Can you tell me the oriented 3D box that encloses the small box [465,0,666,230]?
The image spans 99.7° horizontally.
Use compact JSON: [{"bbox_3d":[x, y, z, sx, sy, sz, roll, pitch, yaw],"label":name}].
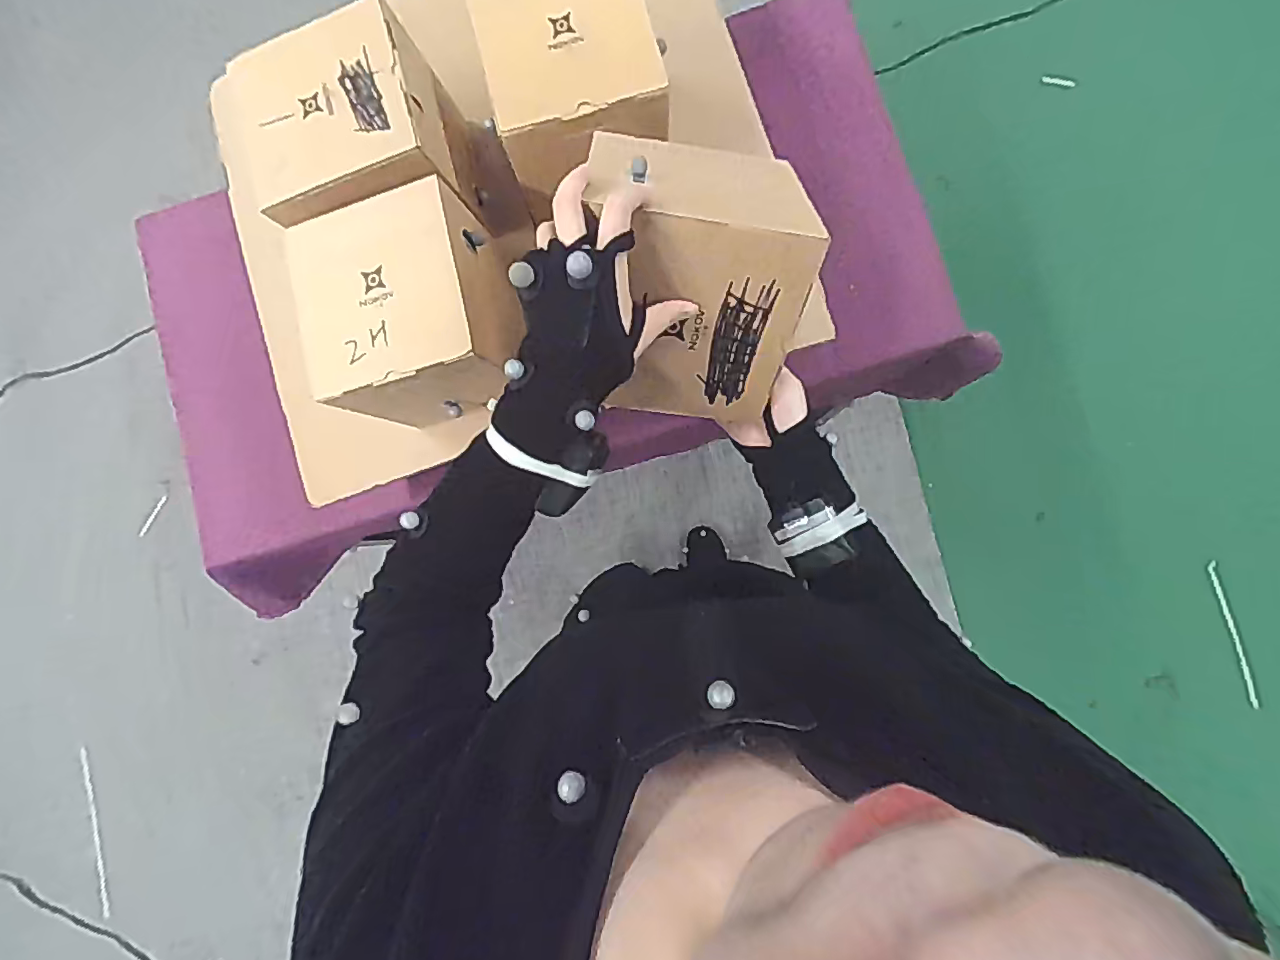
[{"bbox_3d":[-0.074,-0.416,0.596,0.168,0.176,0.179,-15,85,0],"label":"small box"}]
